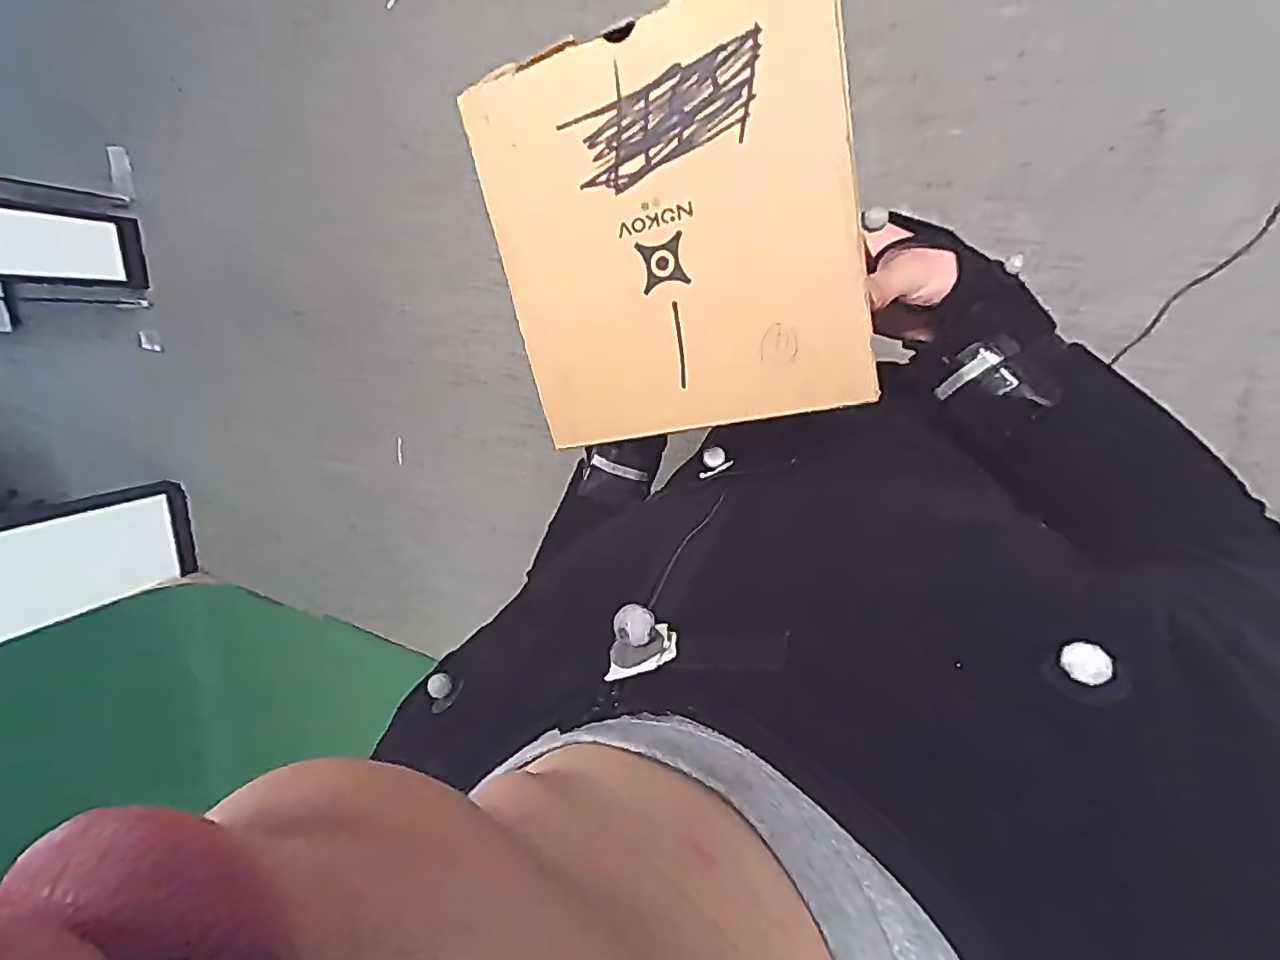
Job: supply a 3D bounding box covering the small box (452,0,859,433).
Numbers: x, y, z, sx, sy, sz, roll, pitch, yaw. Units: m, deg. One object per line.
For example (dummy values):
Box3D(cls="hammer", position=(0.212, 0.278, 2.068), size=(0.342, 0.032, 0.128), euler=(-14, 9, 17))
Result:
Box3D(cls="small box", position=(0.029, -0.140, 0.316), size=(0.168, 0.176, 0.179), euler=(-6, 108, 22))
